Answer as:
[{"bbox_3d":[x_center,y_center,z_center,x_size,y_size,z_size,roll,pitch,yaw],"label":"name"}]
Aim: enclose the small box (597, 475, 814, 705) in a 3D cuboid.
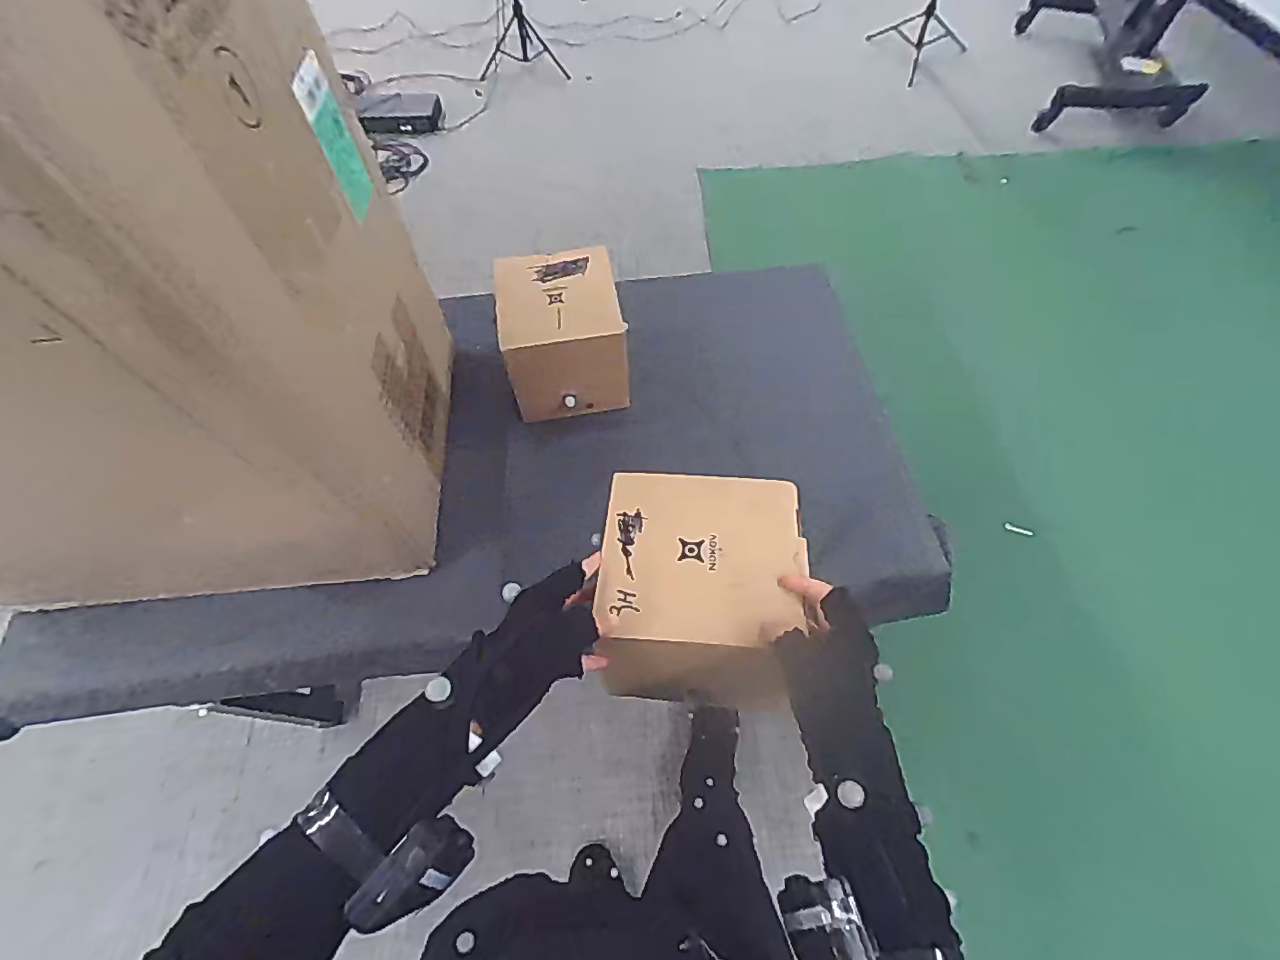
[{"bbox_3d":[0.061,0.115,0.541,0.179,0.176,0.168,4,53,4],"label":"small box"}]
